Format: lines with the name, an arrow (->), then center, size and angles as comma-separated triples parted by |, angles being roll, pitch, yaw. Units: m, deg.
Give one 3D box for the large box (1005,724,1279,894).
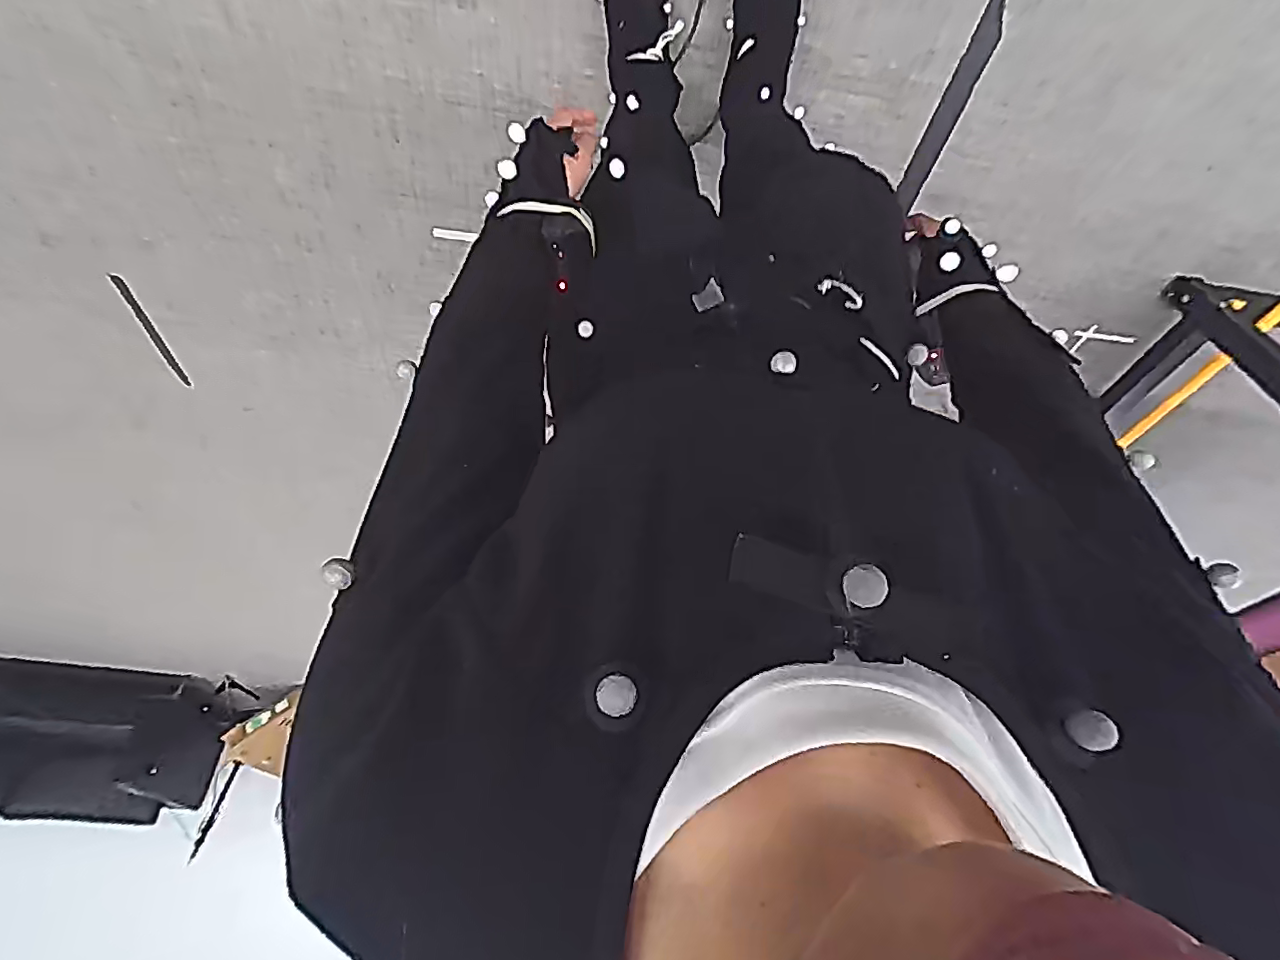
large box -> 1.258, 0.837, 1.372 | 0.408, 0.320, 0.320 | 6, 140, -4
